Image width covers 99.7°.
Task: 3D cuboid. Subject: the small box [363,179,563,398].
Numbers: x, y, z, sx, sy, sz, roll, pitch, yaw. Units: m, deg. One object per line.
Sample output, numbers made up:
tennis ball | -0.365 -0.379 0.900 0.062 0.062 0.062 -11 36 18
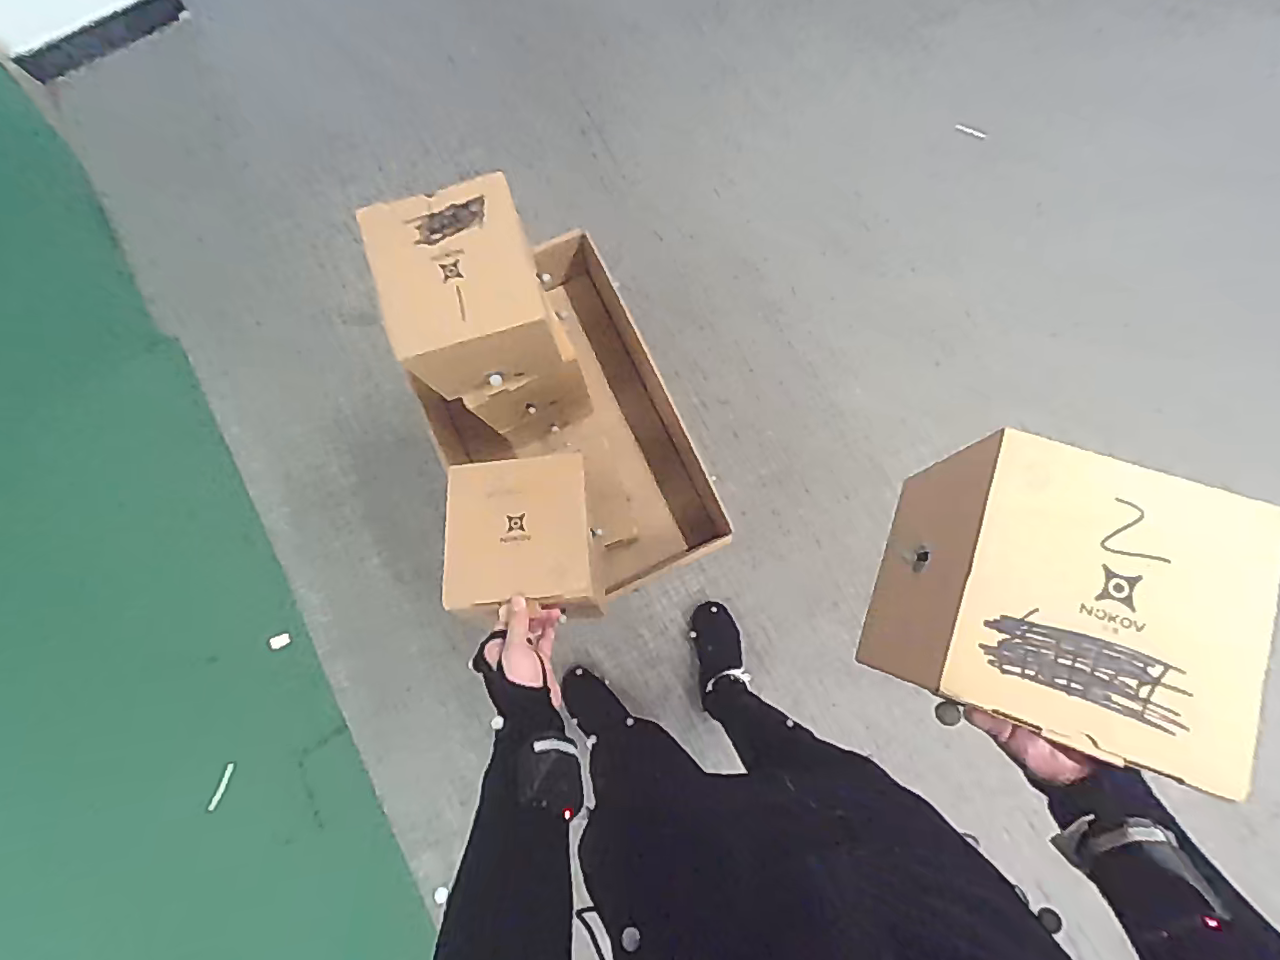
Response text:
small box | -0.202 -0.220 0.662 0.168 0.176 0.179 -17 84 -2

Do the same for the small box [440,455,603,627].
small box | -0.140 0.088 0.694 0.168 0.176 0.179 -6 65 0

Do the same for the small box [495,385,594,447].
small box | -0.196 -0.180 0.986 0.168 0.176 0.179 -26 84 -2

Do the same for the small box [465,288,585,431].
small box | -0.196 -0.198 0.825 0.168 0.176 0.179 -26 84 -3
